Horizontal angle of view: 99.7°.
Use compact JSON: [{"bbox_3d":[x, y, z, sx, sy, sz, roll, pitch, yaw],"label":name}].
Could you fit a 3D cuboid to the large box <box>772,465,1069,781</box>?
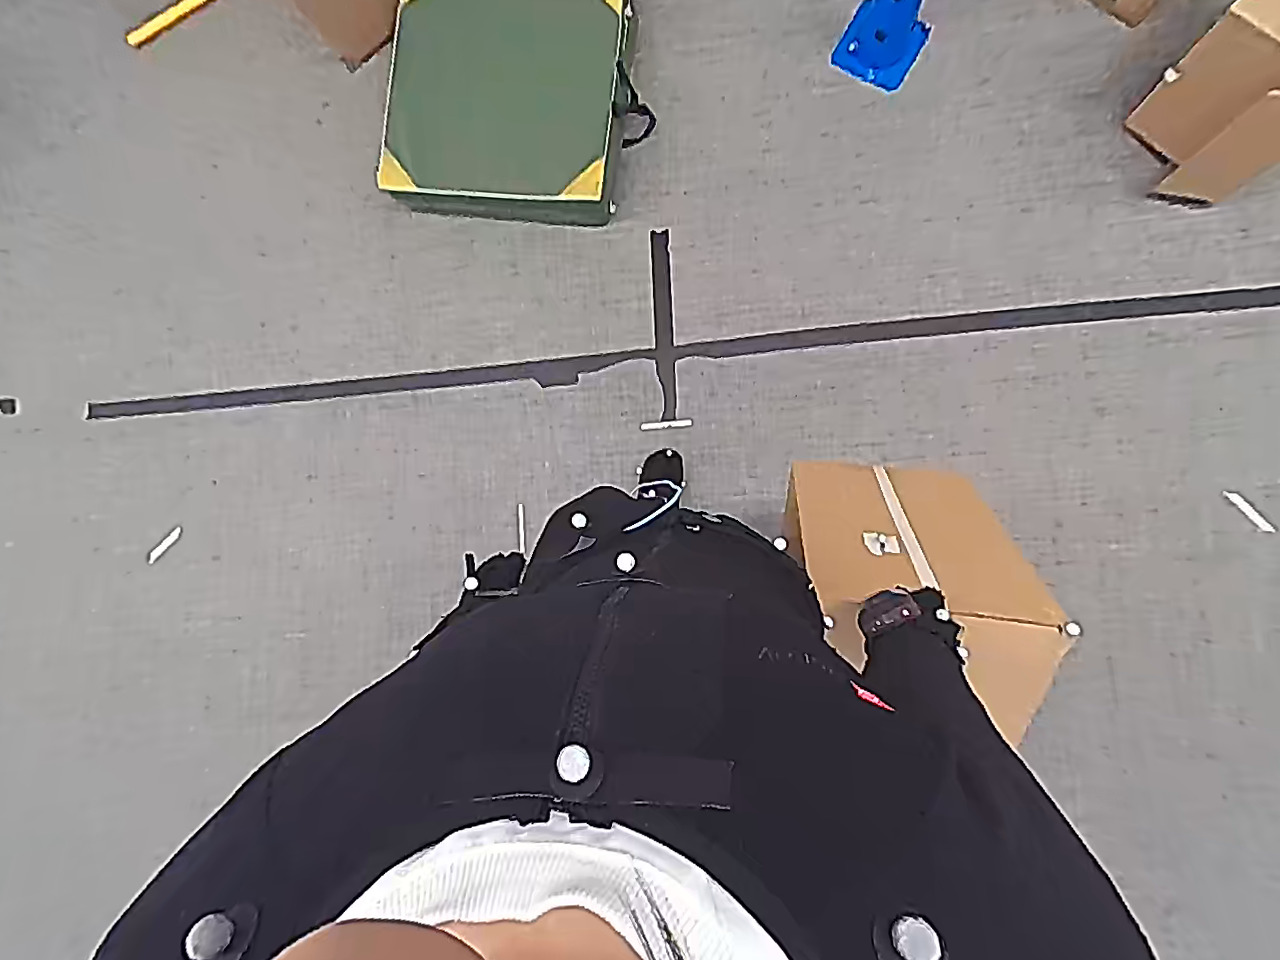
[{"bbox_3d":[0.407,0.211,0.922,0.320,0.408,0.320,5,120,10],"label":"large box"}]
